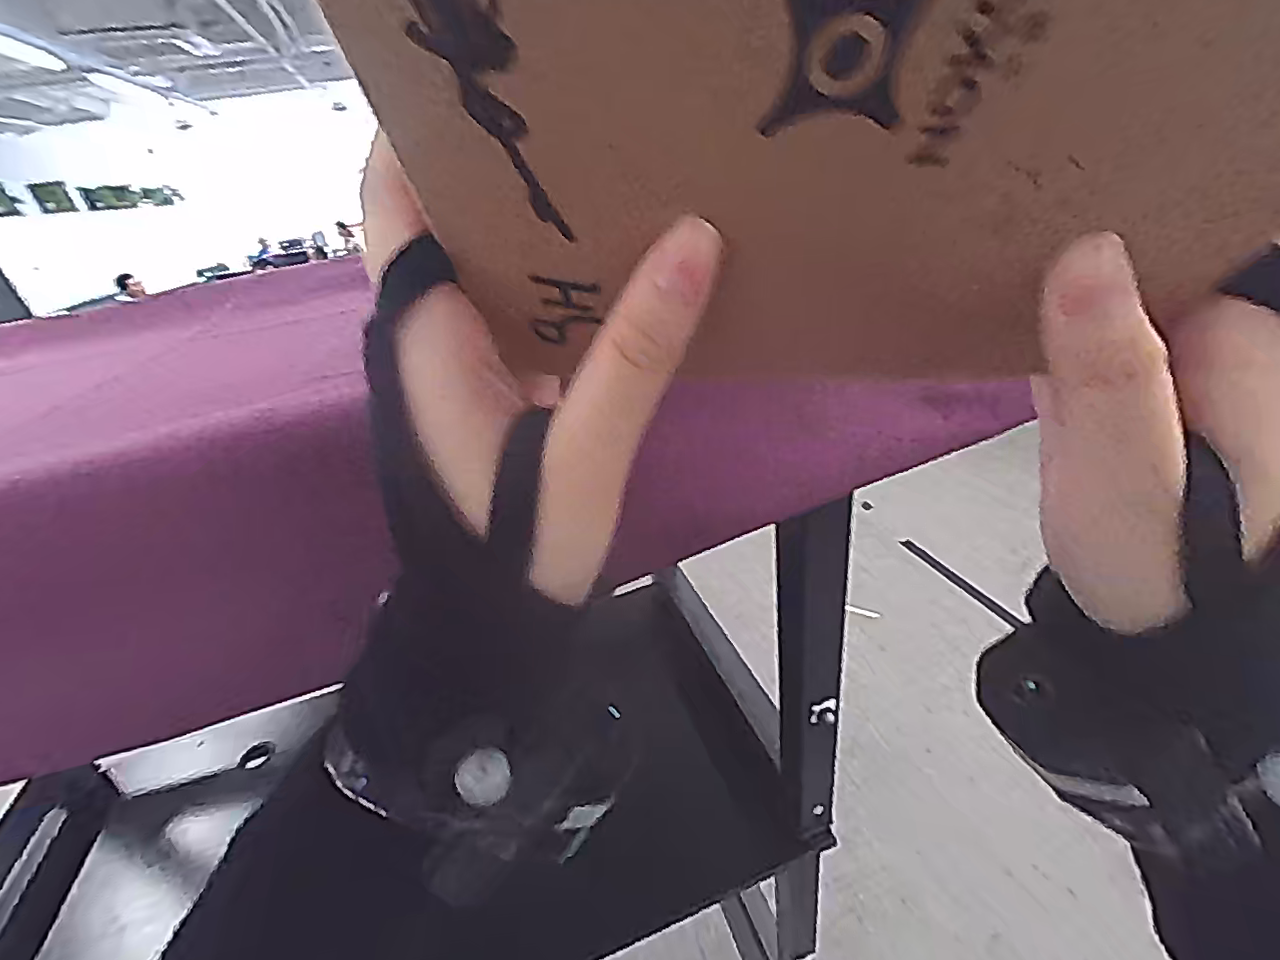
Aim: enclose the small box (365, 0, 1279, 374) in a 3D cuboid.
[{"bbox_3d":[0.050,-0.139,0.112,0.179,0.168,0.176,1,65,5],"label":"small box"}]
